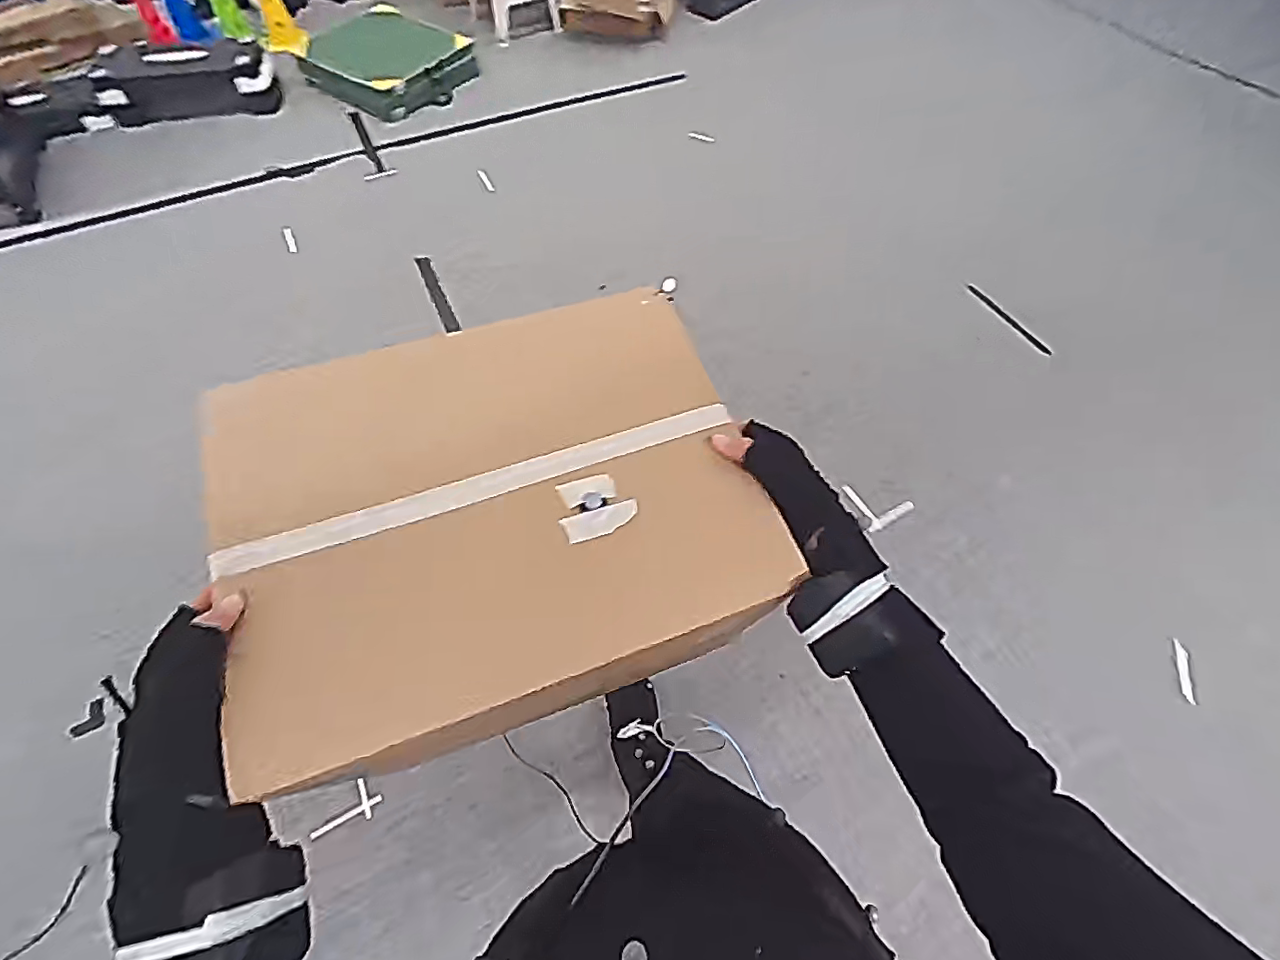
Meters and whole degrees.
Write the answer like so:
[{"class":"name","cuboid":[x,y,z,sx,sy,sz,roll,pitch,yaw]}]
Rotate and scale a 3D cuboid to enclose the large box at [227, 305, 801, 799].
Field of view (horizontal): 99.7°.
[{"class":"large box","cuboid":[-0.120,0.078,0.572,0.408,0.320,0.320,-18,68,-13]}]
